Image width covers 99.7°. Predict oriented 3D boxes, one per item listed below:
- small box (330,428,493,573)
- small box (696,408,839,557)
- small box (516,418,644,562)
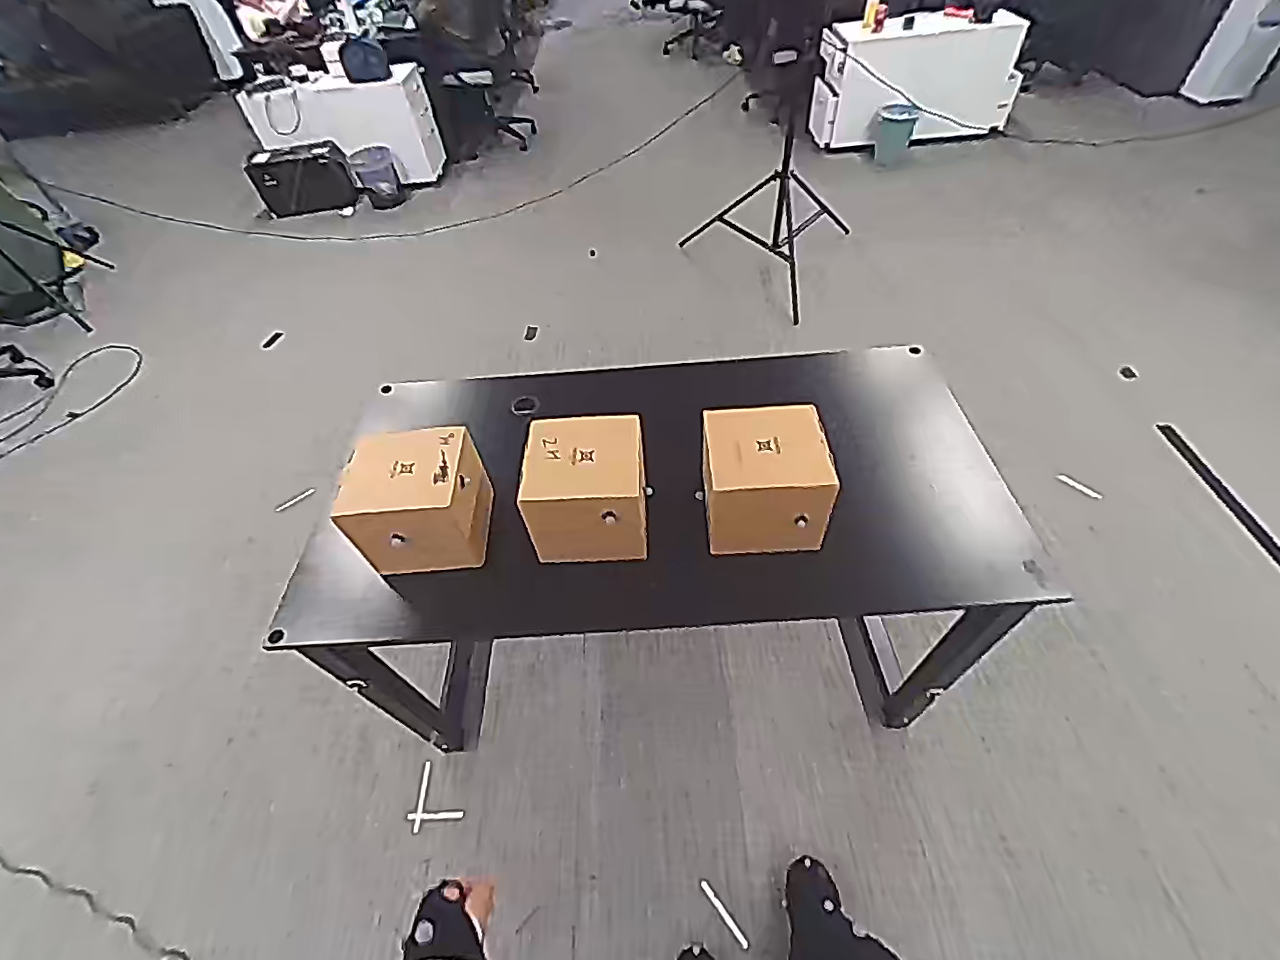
[{"bbox_3d":[-0.356,0.039,0.881,0.179,0.176,0.168,-6,50,1],"label":"small box"},{"bbox_3d":[0.187,0.006,0.855,0.179,0.176,0.168,-4,48,-1],"label":"small box"},{"bbox_3d":[-0.084,0.019,0.871,0.179,0.176,0.168,-3,50,3],"label":"small box"}]
